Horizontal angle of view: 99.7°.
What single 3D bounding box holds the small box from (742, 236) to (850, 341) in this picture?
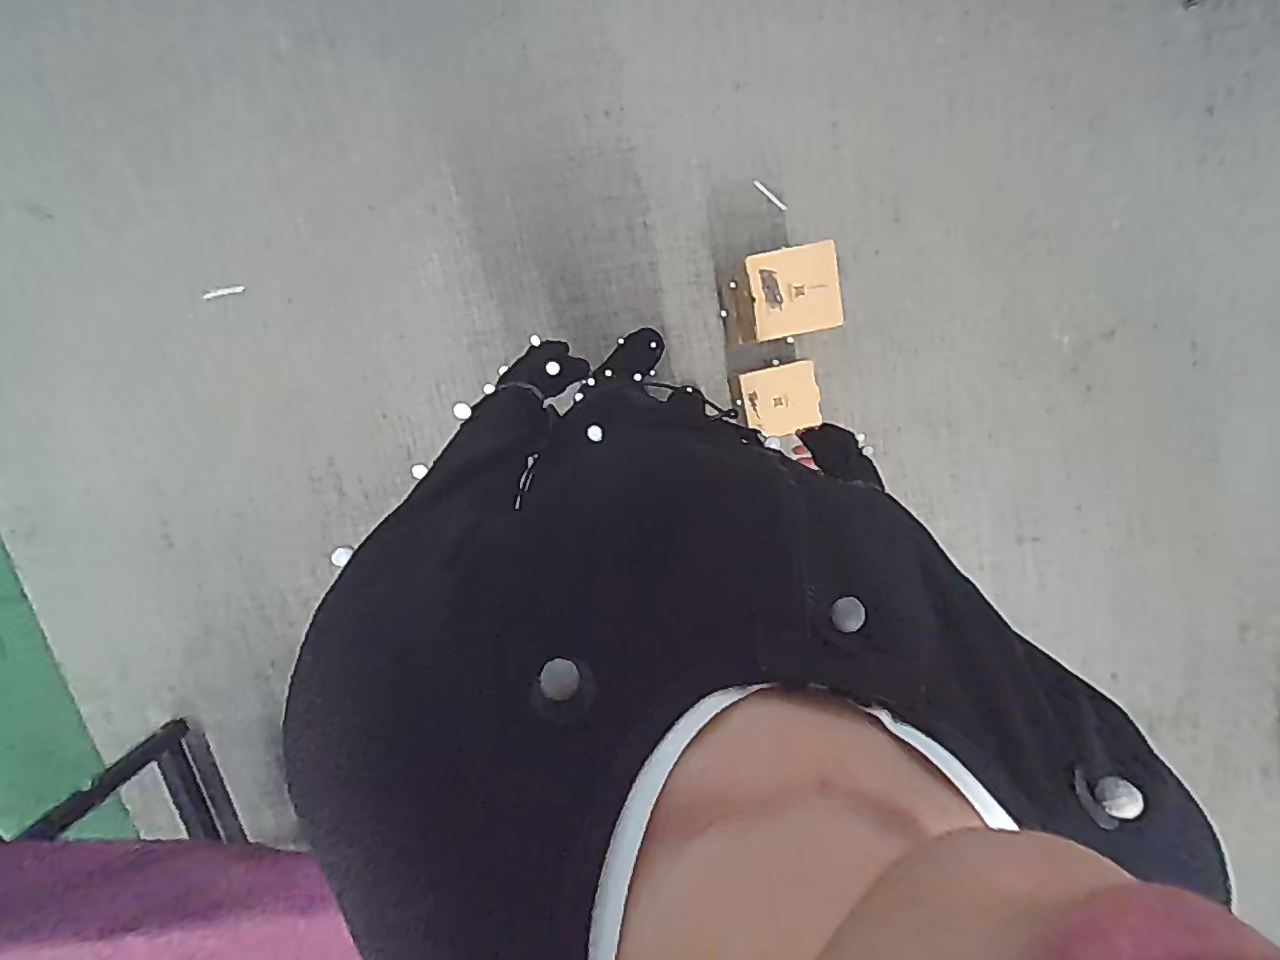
[{"bbox_3d":[0.317,-0.391,1.133,0.179,0.176,0.168,-11,102,3],"label":"small box"}]
